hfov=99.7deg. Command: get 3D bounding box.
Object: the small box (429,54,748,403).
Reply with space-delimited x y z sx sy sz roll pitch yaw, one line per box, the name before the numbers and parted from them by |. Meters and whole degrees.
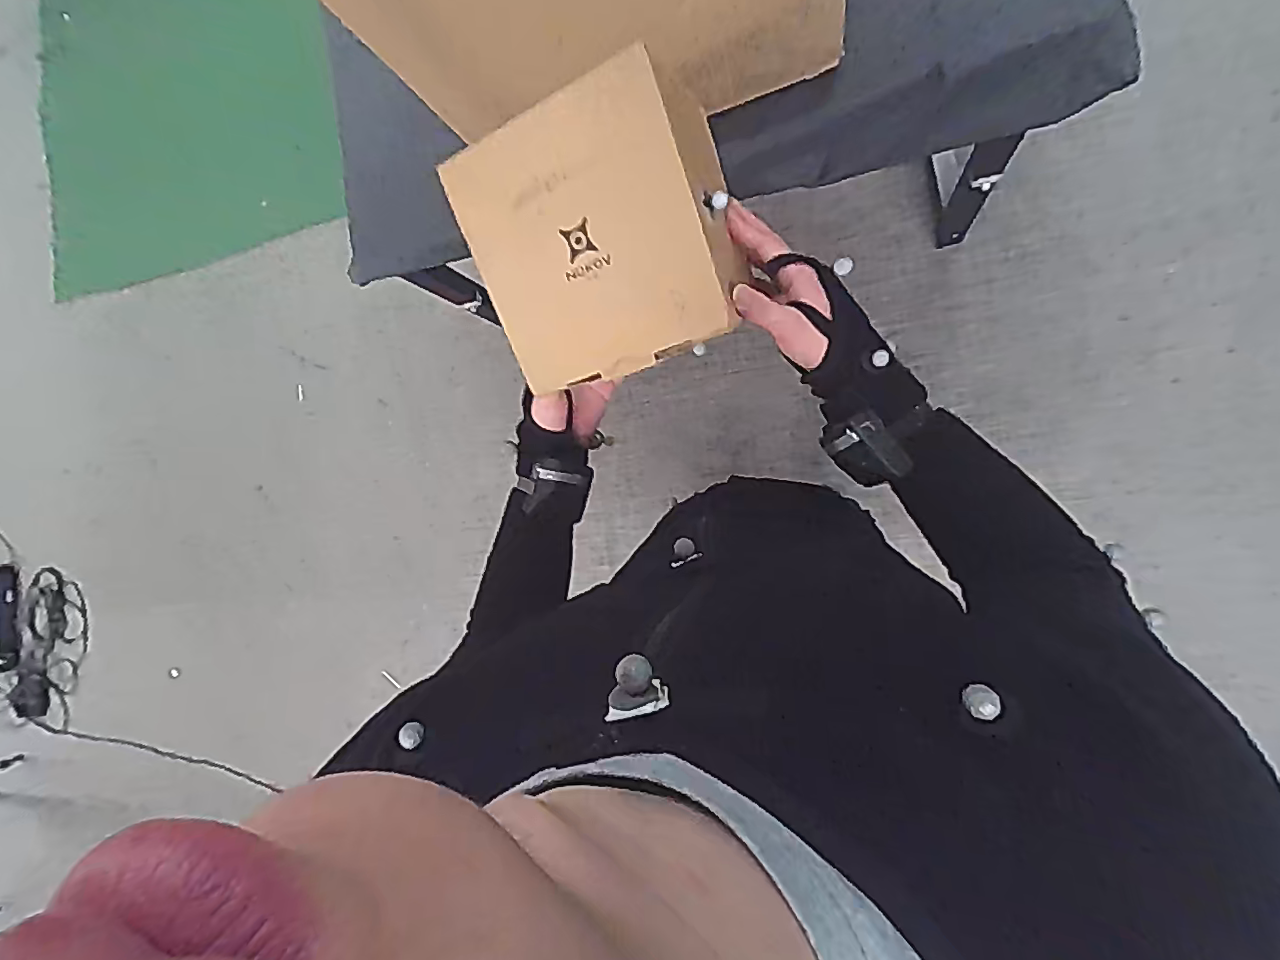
small box | -0.022 -0.184 0.436 0.168 0.176 0.179 -15 106 24
